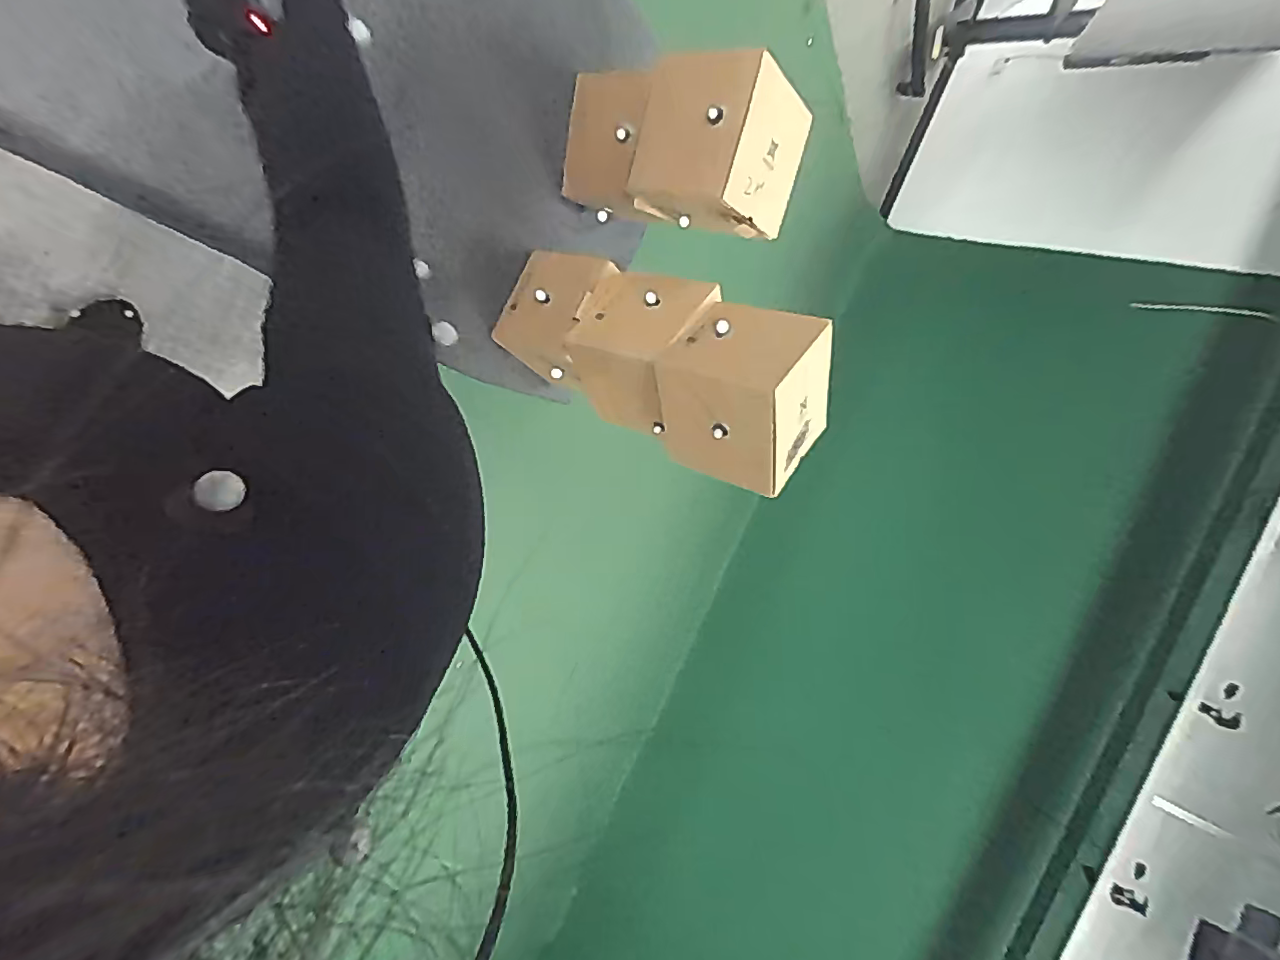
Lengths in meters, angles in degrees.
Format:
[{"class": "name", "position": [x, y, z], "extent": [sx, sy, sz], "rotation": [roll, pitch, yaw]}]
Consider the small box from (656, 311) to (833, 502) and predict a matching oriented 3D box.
[{"class": "small box", "position": [0.141, -0.106, 0.732], "extent": [0.168, 0.176, 0.179], "rotation": [-47, 142, -31]}]

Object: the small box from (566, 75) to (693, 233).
[{"class": "small box", "position": [0.001, -0.521, 0.875], "extent": [0.168, 0.176, 0.179], "rotation": [-12, 123, -49]}]

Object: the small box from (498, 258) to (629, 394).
[{"class": "small box", "position": [-0.103, -0.250, 0.903], "extent": [0.179, 0.176, 0.168], "rotation": [33, 81, -57]}]

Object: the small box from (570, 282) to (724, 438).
[{"class": "small box", "position": [0.021, -0.181, 0.820], "extent": [0.168, 0.176, 0.179], "rotation": [-53, 146, -23]}]

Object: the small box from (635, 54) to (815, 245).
[{"class": "small box", "position": [0.117, -0.461, 0.771], "extent": [0.168, 0.176, 0.179], "rotation": [-2, 114, -52]}]
